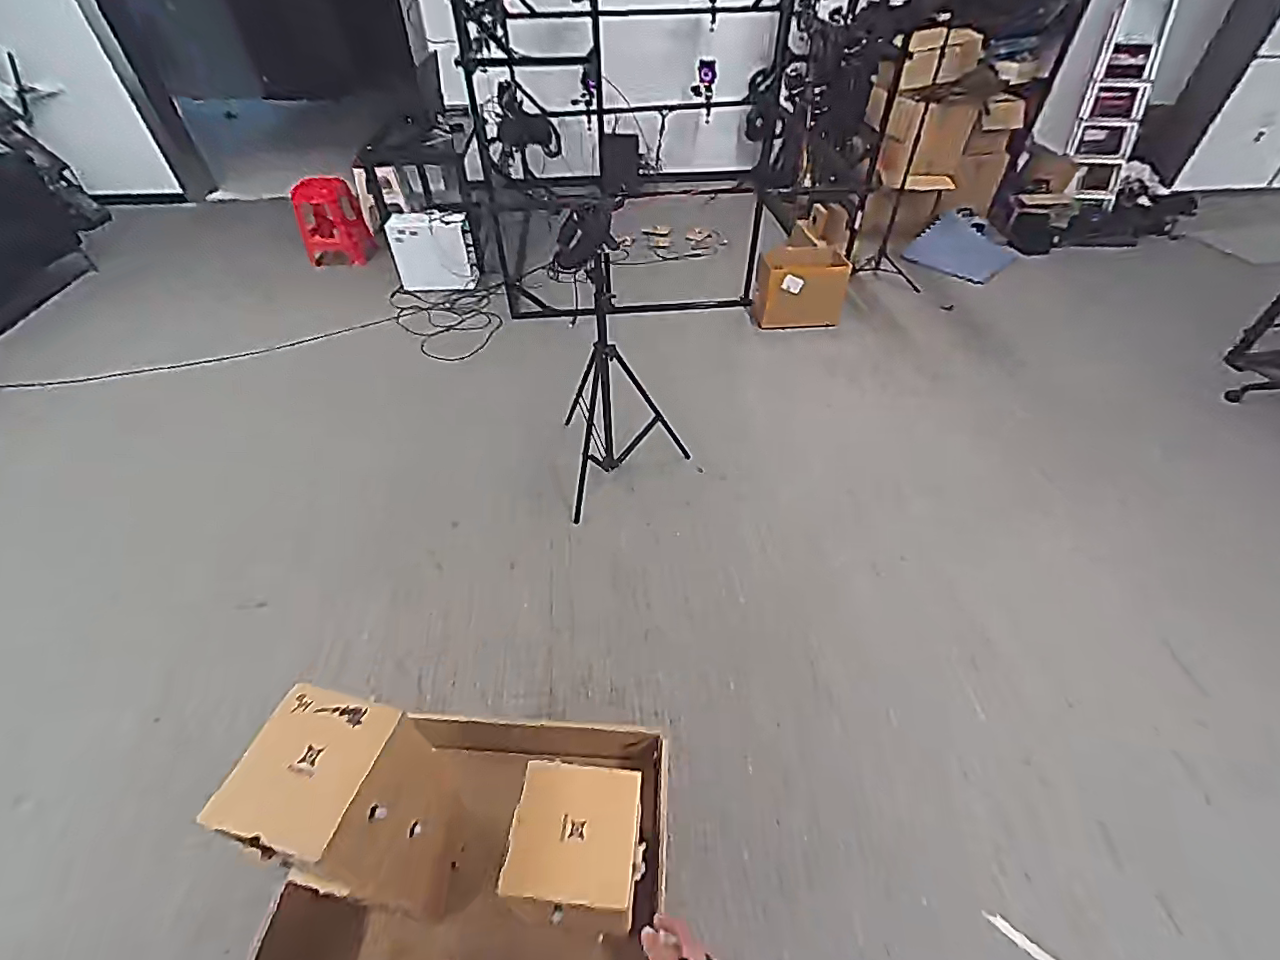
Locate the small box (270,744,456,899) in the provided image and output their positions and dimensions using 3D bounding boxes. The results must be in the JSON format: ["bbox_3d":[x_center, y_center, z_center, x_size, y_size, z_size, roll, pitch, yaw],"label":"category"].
[{"bbox_3d":[-0.406,0.515,0.834,0.168,0.176,0.179,8,44,8],"label":"small box"}]

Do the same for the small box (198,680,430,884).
[{"bbox_3d":[-0.406,0.401,0.715,0.168,0.176,0.179,11,46,11],"label":"small box"}]

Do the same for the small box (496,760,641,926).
[{"bbox_3d":[-0.092,0.542,0.805,0.179,0.176,0.168,3,44,5],"label":"small box"}]
